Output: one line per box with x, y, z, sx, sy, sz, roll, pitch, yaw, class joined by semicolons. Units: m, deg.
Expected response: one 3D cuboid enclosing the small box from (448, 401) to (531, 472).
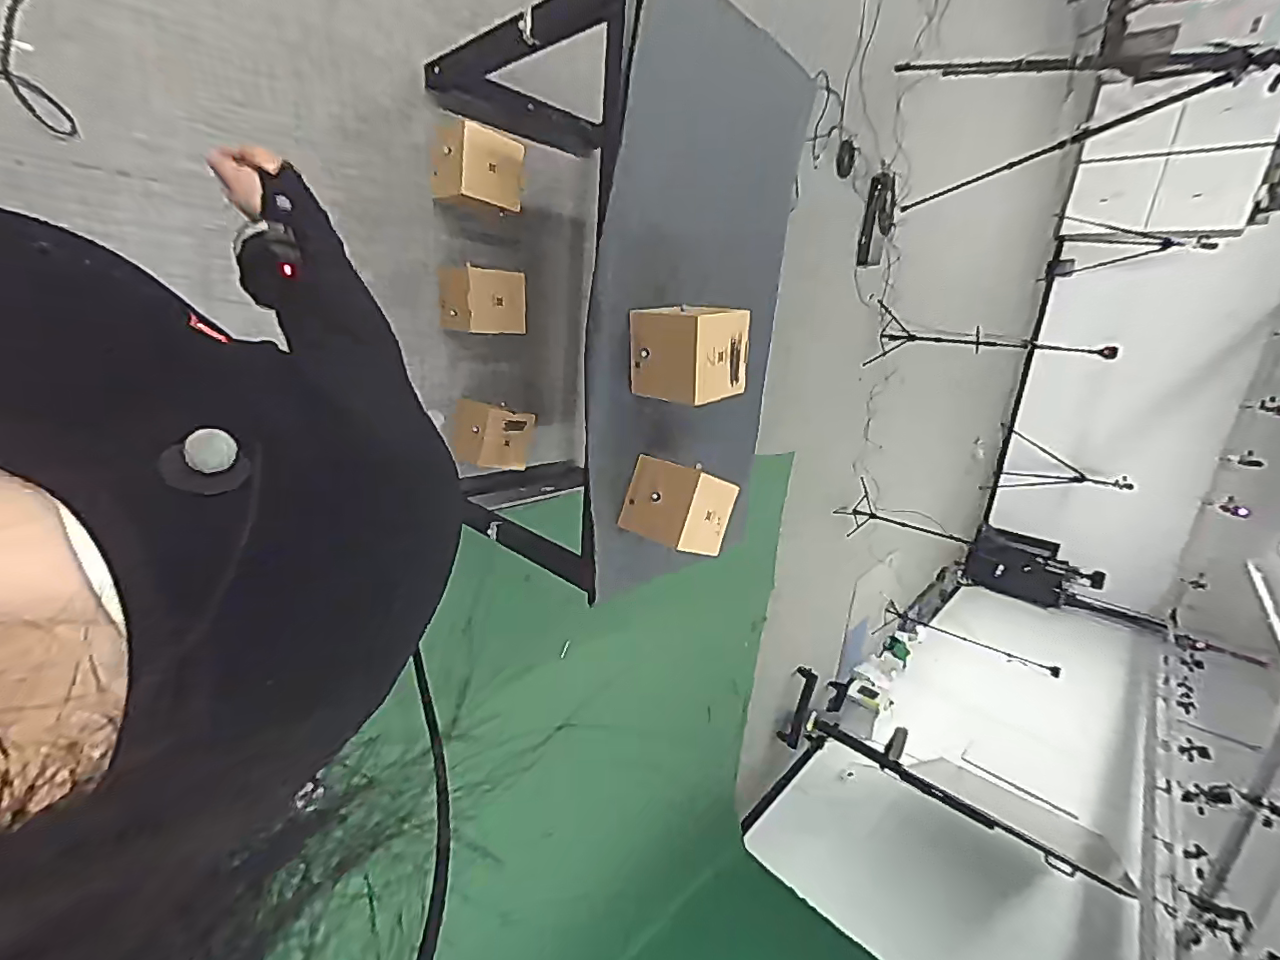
-0.462;-0.134;1.646;0.168;0.176;0.179;6;101;-49;small box

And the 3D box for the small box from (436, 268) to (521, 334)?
-0.456;-0.499;1.514;0.179;0.176;0.168;-16;117;-46;small box

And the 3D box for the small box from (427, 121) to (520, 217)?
-0.441;-0.803;1.419;0.179;0.176;0.168;-7;109;-48;small box

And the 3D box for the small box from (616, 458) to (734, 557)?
0.075;0.058;1.188;0.179;0.176;0.168;18;90;-53;small box
